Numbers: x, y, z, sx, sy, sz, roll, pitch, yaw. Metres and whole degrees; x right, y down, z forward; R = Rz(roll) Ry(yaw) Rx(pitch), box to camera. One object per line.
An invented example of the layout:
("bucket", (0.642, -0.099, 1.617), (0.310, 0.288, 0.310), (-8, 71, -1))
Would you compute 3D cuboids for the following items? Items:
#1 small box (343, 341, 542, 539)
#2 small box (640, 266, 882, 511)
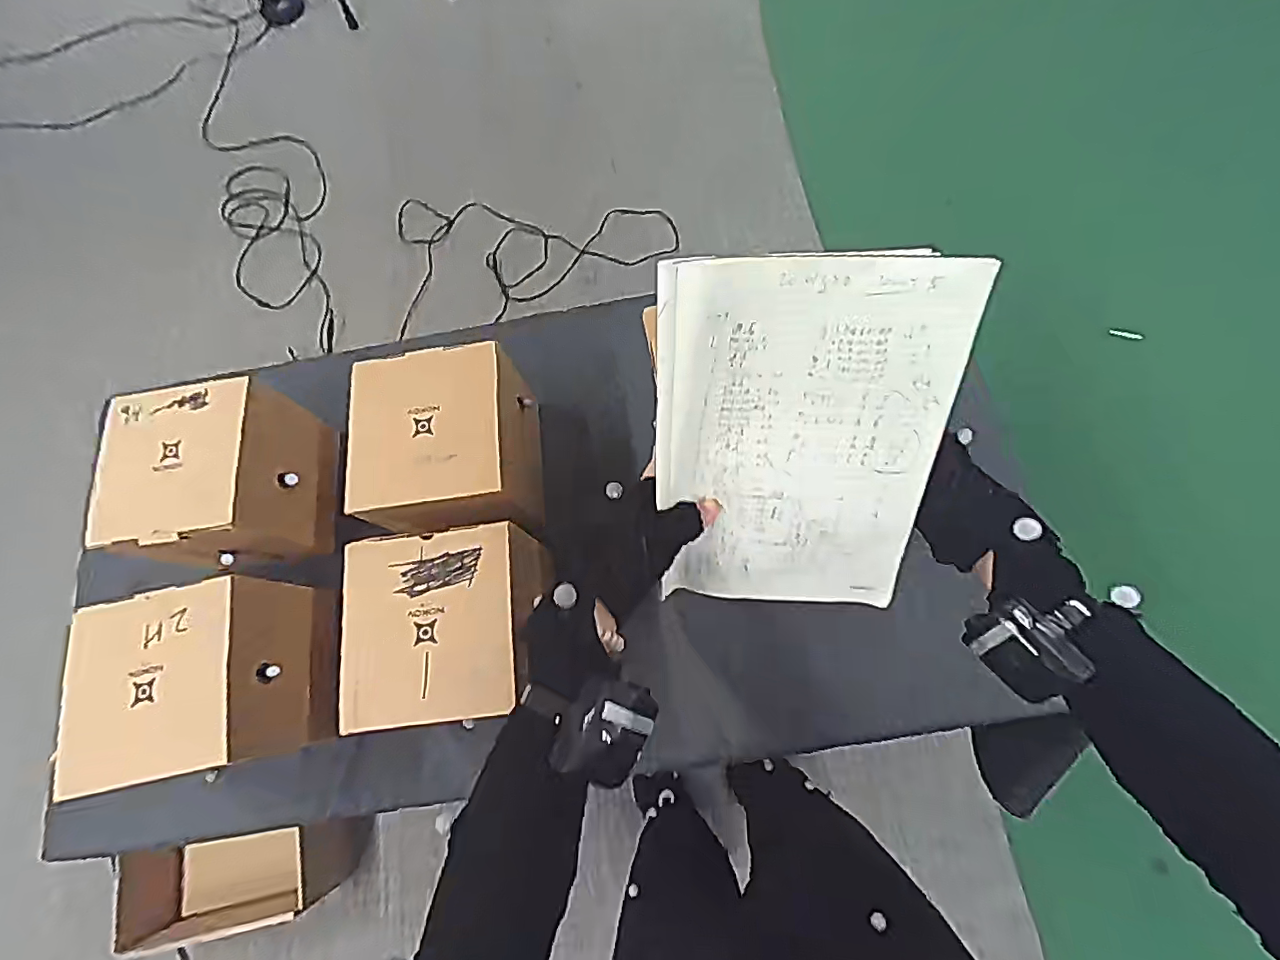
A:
("small box", (-0.220, -0.038, 0.643), (0.168, 0.176, 0.179), (-7, 73, 4))
("small box", (0.107, -0.074, 0.532), (0.179, 0.176, 0.168), (-12, 76, 6))
